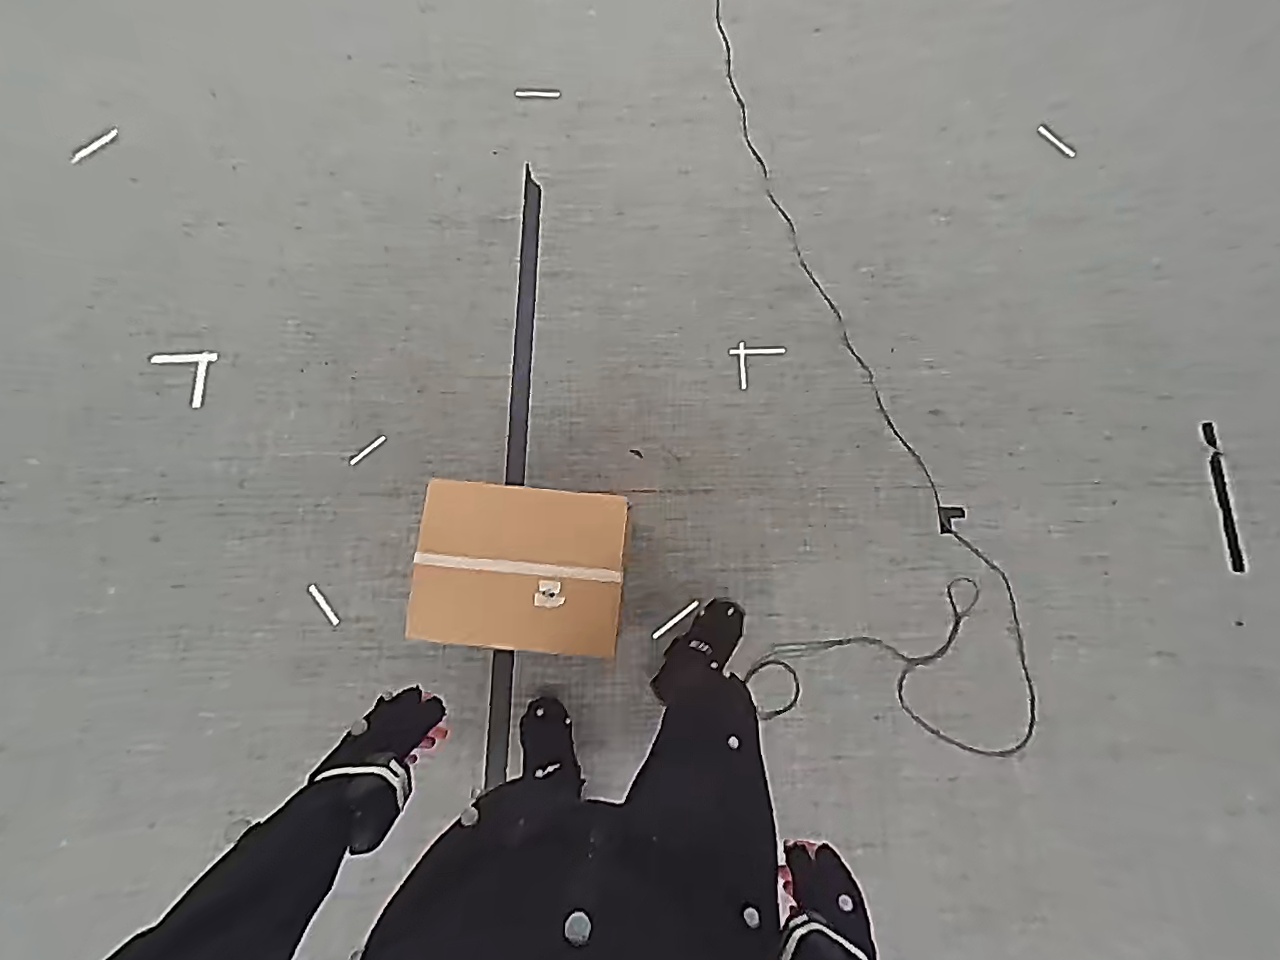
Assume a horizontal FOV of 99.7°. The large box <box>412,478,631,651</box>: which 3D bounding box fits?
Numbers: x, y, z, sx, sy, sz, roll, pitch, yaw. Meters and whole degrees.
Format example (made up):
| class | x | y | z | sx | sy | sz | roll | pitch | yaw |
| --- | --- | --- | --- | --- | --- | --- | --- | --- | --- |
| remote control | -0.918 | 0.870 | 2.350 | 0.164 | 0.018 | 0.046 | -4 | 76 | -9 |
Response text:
| class | x | y | z | sx | sy | sz | roll | pitch | yaw |
| --- | --- | --- | --- | --- | --- | --- | --- | --- | --- |
| large box | -0.234 | 0.189 | 1.209 | 0.408 | 0.320 | 0.320 | 6 | 81 | 0 |
